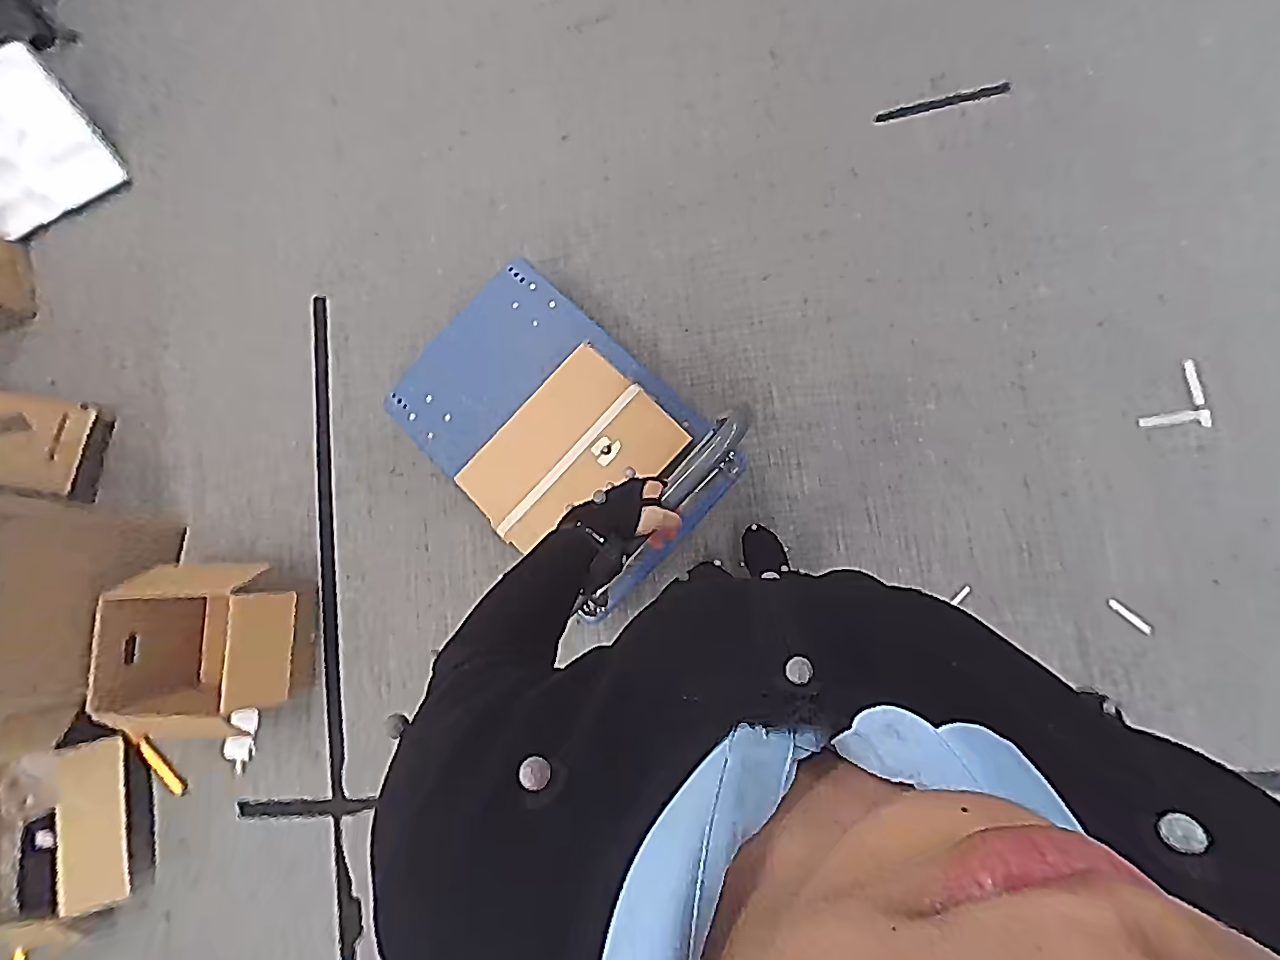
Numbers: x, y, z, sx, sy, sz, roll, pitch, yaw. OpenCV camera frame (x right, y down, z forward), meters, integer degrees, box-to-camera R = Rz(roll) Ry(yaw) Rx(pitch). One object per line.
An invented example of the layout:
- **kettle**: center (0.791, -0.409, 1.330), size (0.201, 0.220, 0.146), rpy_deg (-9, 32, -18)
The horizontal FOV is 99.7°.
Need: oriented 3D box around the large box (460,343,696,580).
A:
- **large box**: center (-0.120, -0.022, 1.247), size (0.320, 0.320, 0.408), rpy_deg (43, 90, 11)
